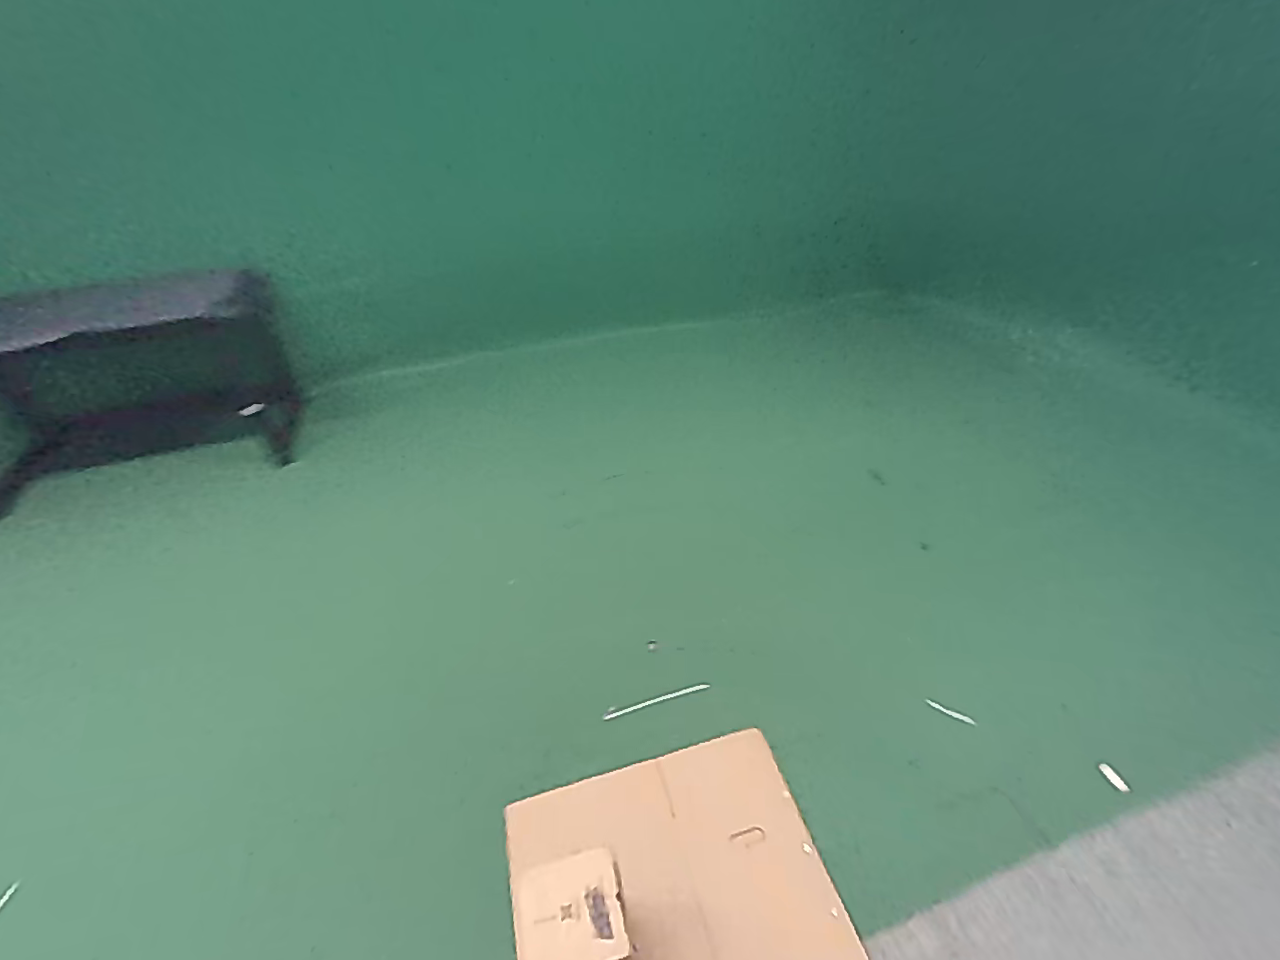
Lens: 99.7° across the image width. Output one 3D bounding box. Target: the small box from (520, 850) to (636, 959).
[{"bbox_3d":[-0.109,0.806,0.973,0.179,0.176,0.168,-13,40,-8],"label":"small box"}]
